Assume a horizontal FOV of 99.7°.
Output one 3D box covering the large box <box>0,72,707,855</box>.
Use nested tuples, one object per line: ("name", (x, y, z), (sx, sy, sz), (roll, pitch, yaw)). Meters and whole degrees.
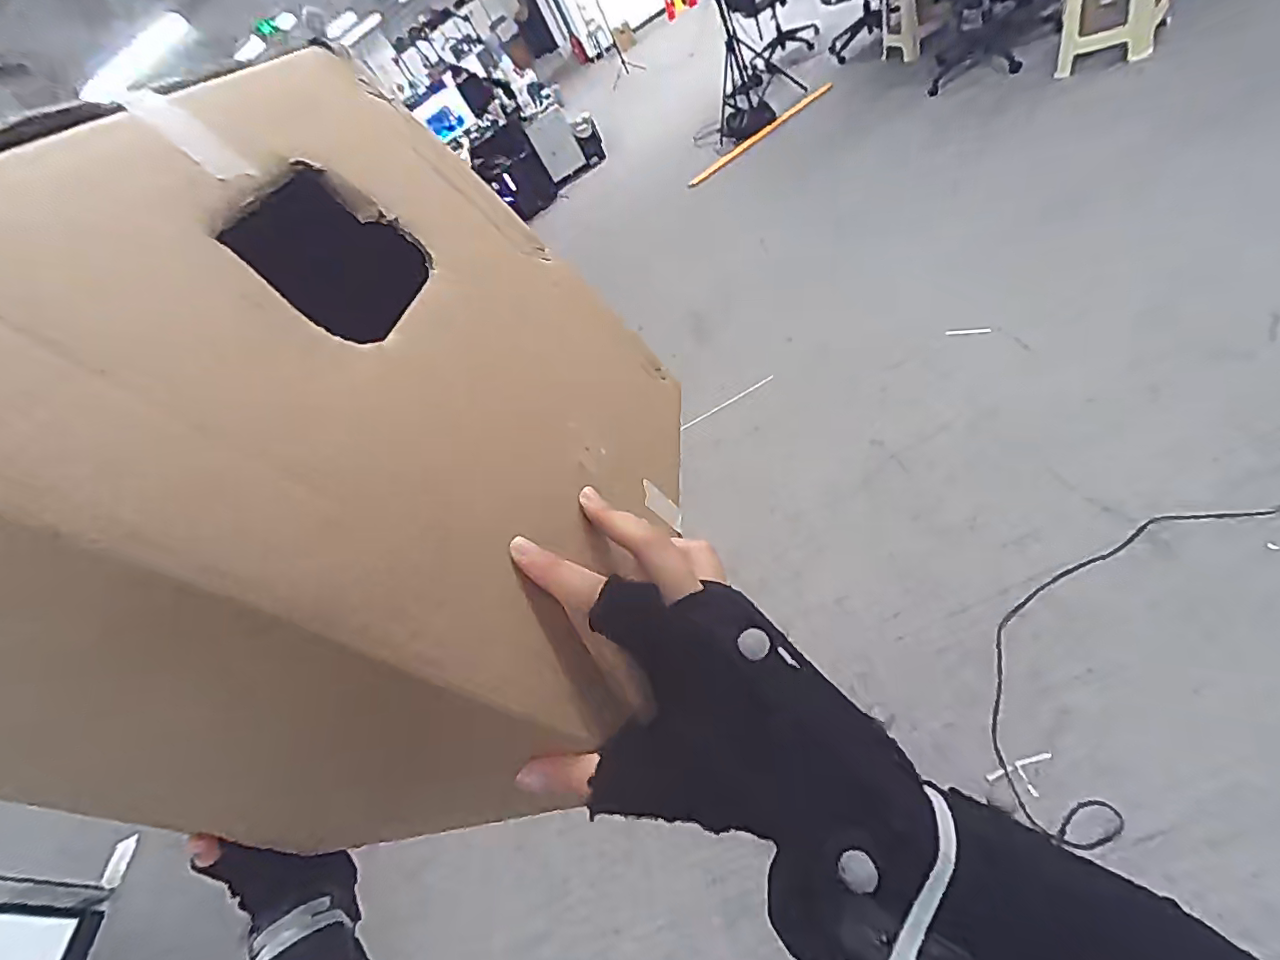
("large box", (-0.205, 0.034, 0.384), (0.408, 0.320, 0.320), (-30, 36, 30))
